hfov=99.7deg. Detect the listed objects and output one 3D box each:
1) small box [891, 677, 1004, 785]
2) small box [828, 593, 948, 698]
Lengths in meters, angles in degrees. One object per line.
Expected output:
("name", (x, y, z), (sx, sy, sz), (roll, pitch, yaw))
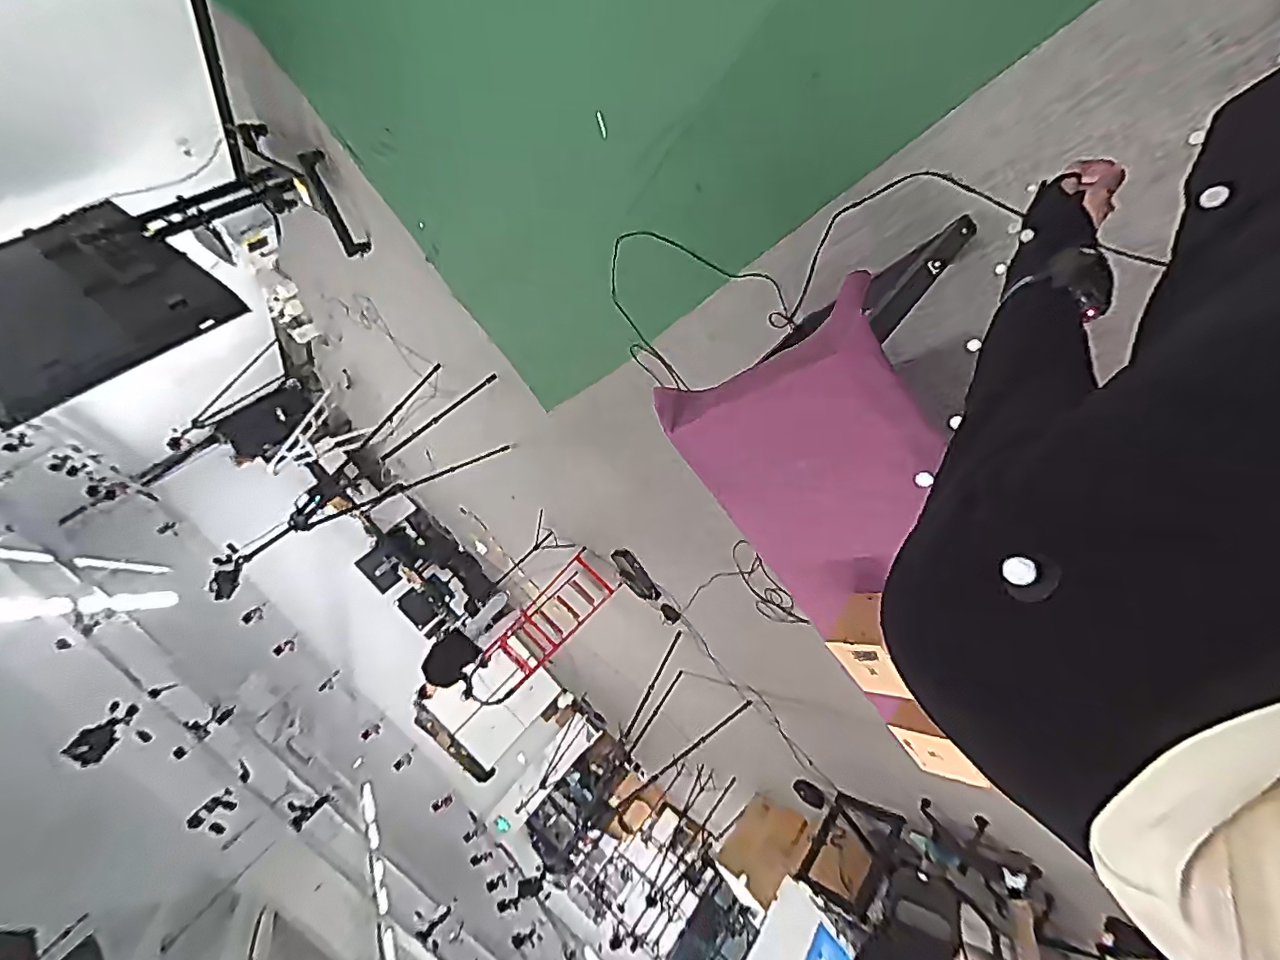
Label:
("small box", (0.774, 0.614, 1.350), (0.168, 0.176, 0.179), (52, 150, -8))
("small box", (0.596, 0.388, 1.300), (0.179, 0.176, 0.168), (50, 152, -10))
